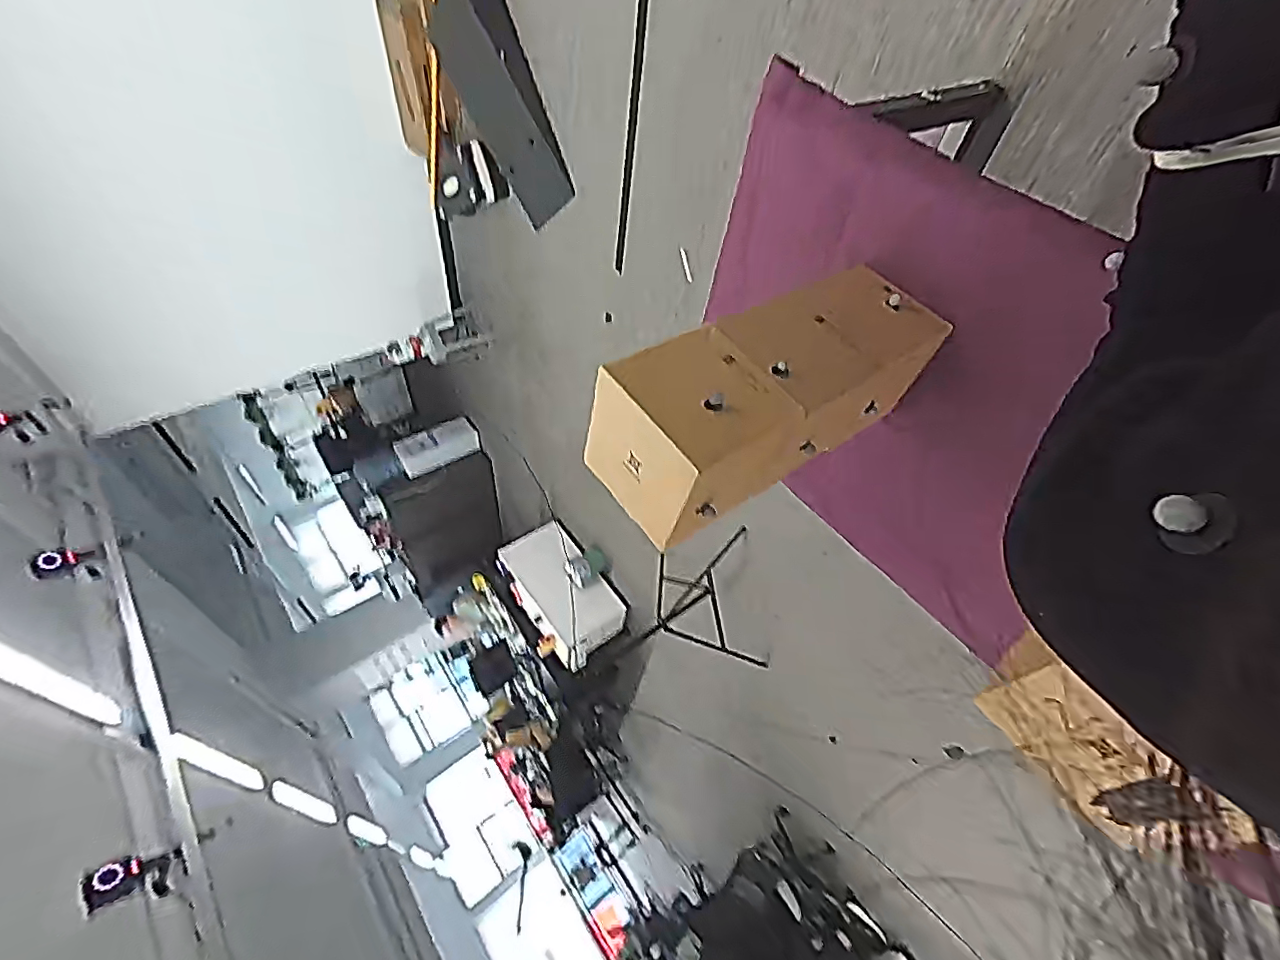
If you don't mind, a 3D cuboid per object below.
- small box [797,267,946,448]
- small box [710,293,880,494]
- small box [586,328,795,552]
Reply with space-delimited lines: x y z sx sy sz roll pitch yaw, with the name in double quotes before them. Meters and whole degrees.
"small box" 0.311 -0.184 0.808 0.168 0.176 0.179 48 149 23
"small box" 0.184 -0.117 0.728 0.168 0.176 0.179 49 151 21
"small box" 0.057 -0.052 0.648 0.168 0.176 0.179 49 151 21
